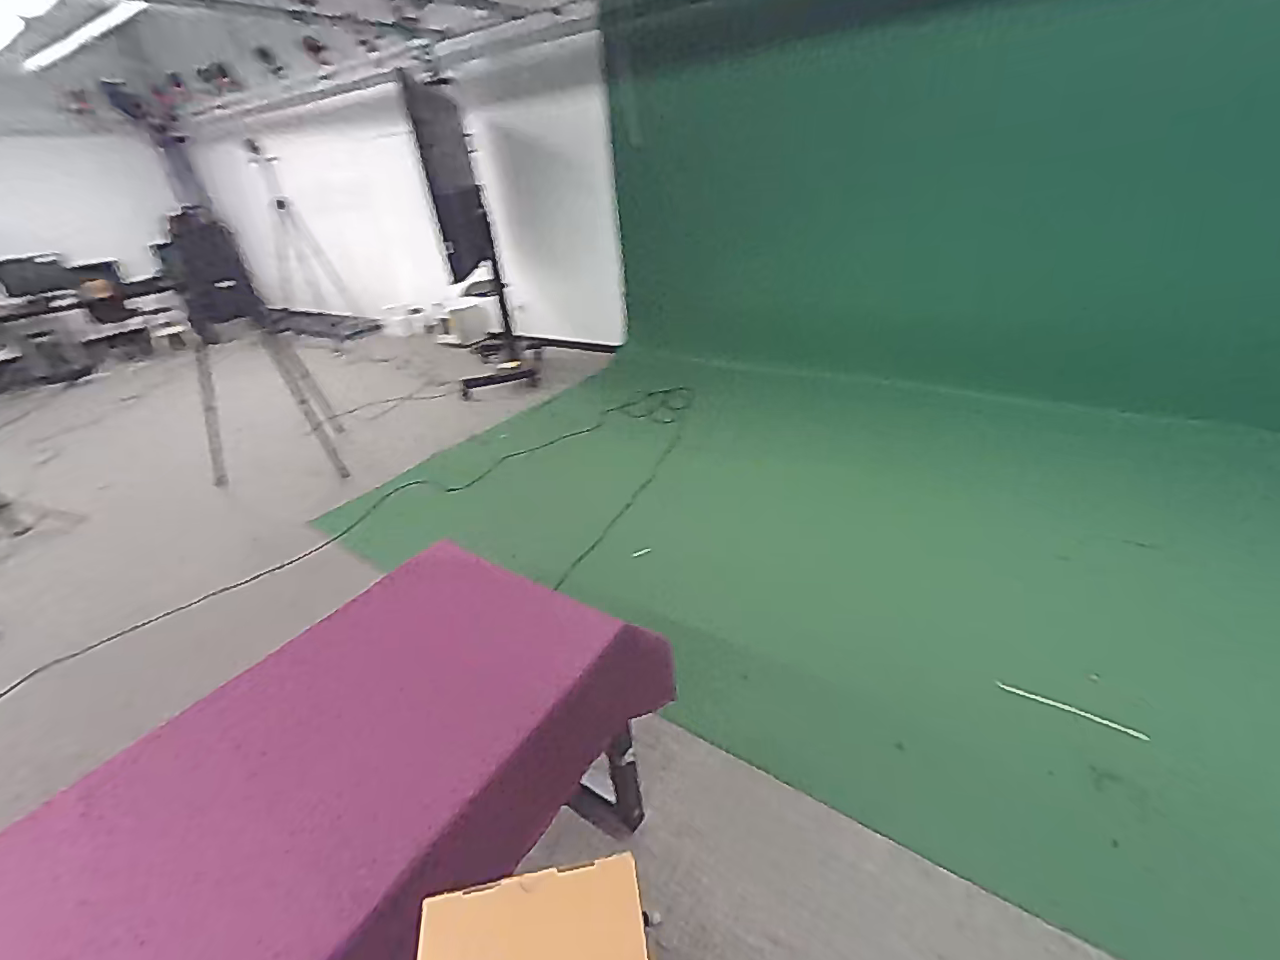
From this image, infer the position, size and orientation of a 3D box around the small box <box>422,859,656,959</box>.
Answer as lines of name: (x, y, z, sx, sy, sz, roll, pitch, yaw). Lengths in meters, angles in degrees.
small box: (-0.066, 0.432, 0.419, 0.168, 0.176, 0.179, -9, 41, -4)
